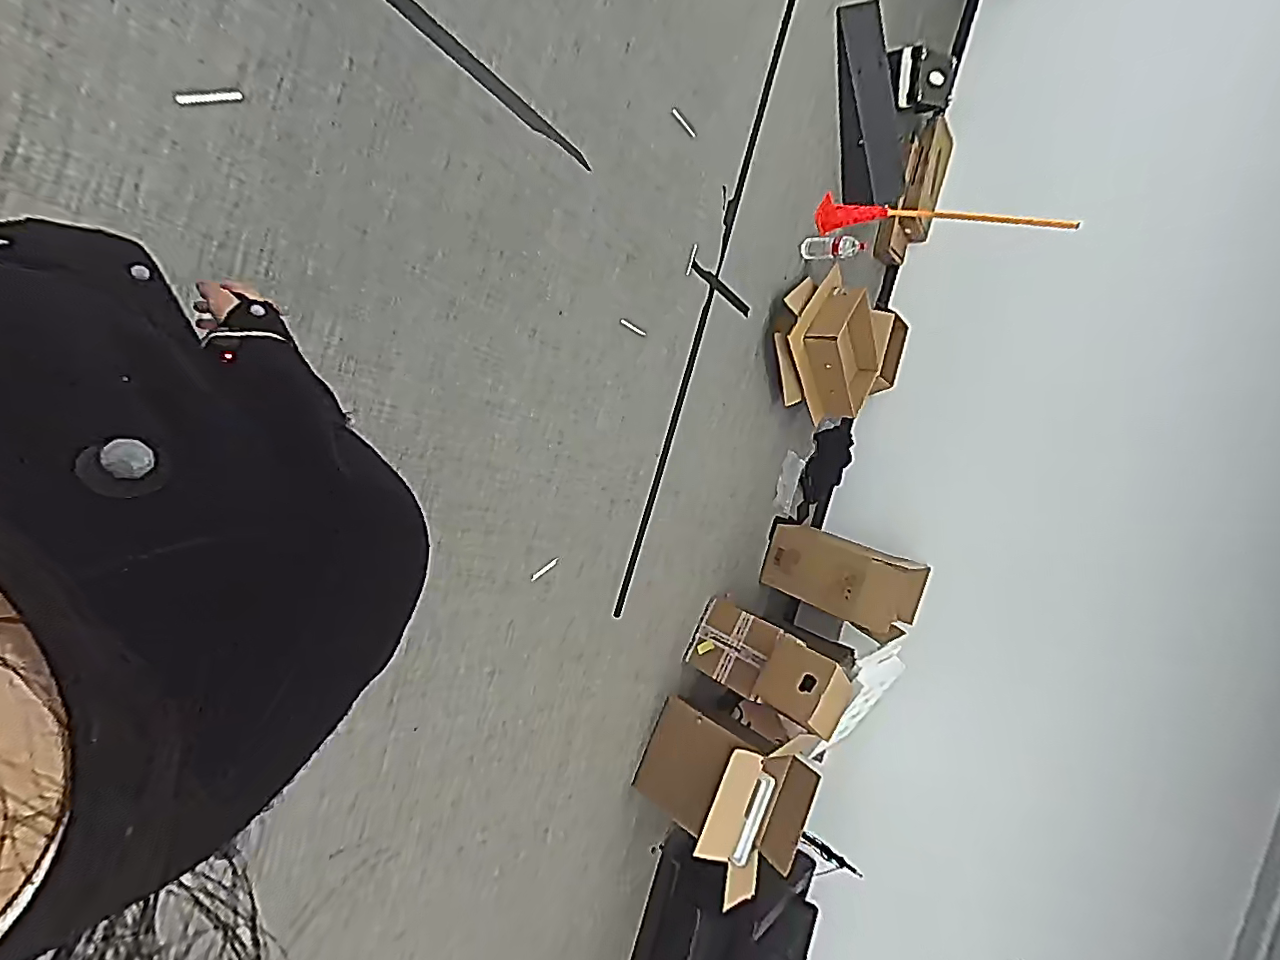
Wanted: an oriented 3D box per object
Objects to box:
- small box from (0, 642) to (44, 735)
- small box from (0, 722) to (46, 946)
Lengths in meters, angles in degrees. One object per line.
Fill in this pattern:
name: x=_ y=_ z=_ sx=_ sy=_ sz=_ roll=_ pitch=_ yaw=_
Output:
small box: x=-0.729 y=0.267 z=0.524 sx=0.168 sy=0.176 sz=0.179 roll=19 pitch=90 yaw=-51
small box: x=-0.611 y=0.311 z=0.421 sx=0.168 sy=0.176 sz=0.179 roll=18 pitch=92 yaw=-50
